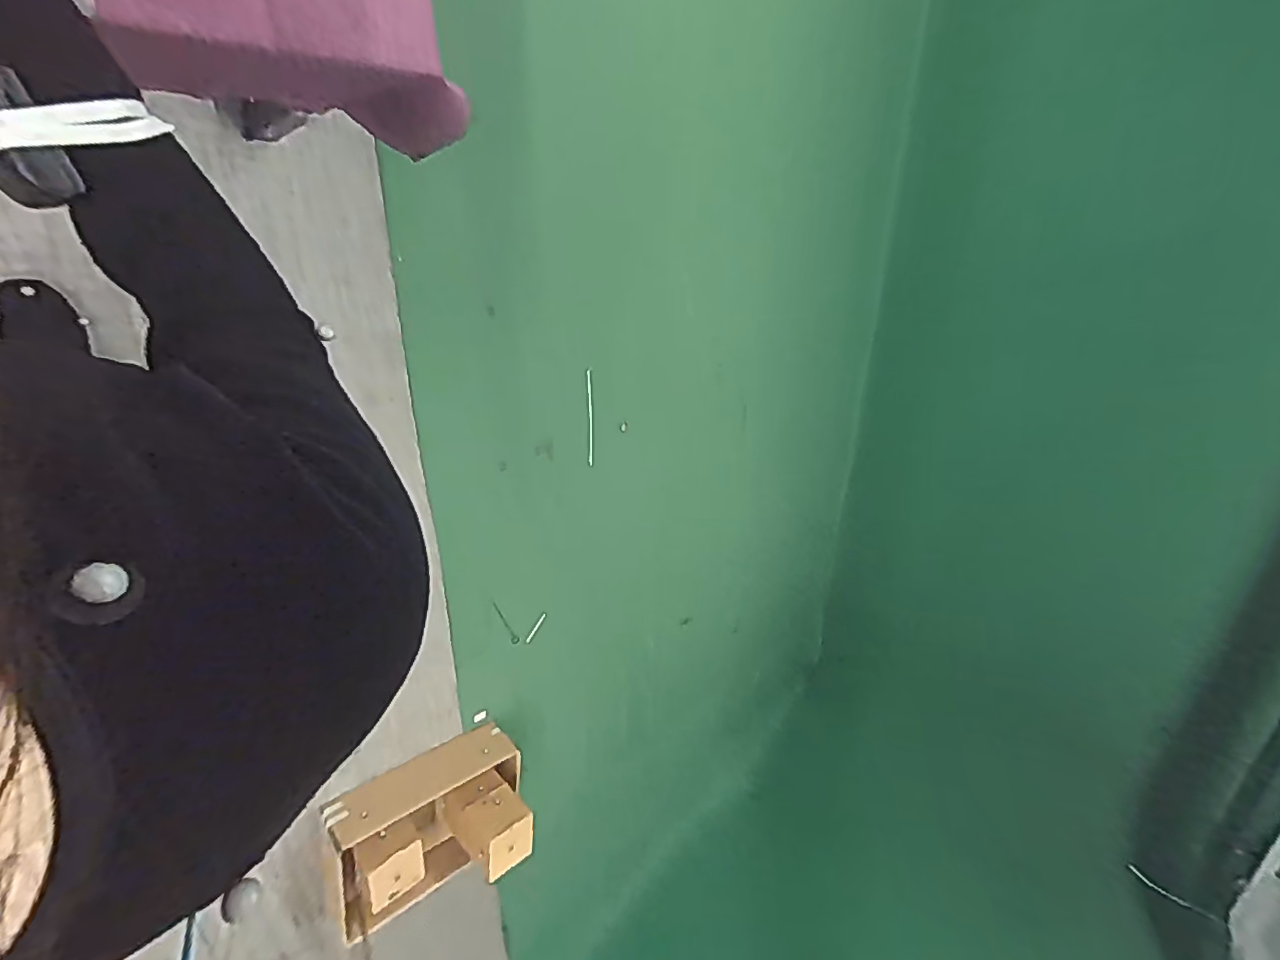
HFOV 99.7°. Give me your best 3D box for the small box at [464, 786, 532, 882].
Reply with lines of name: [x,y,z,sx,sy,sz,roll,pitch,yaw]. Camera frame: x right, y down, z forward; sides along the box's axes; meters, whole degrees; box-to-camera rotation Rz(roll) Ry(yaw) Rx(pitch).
small box: [-0.486,1.195,1.840,0.168,0.176,0.179,-11,112,-45]
